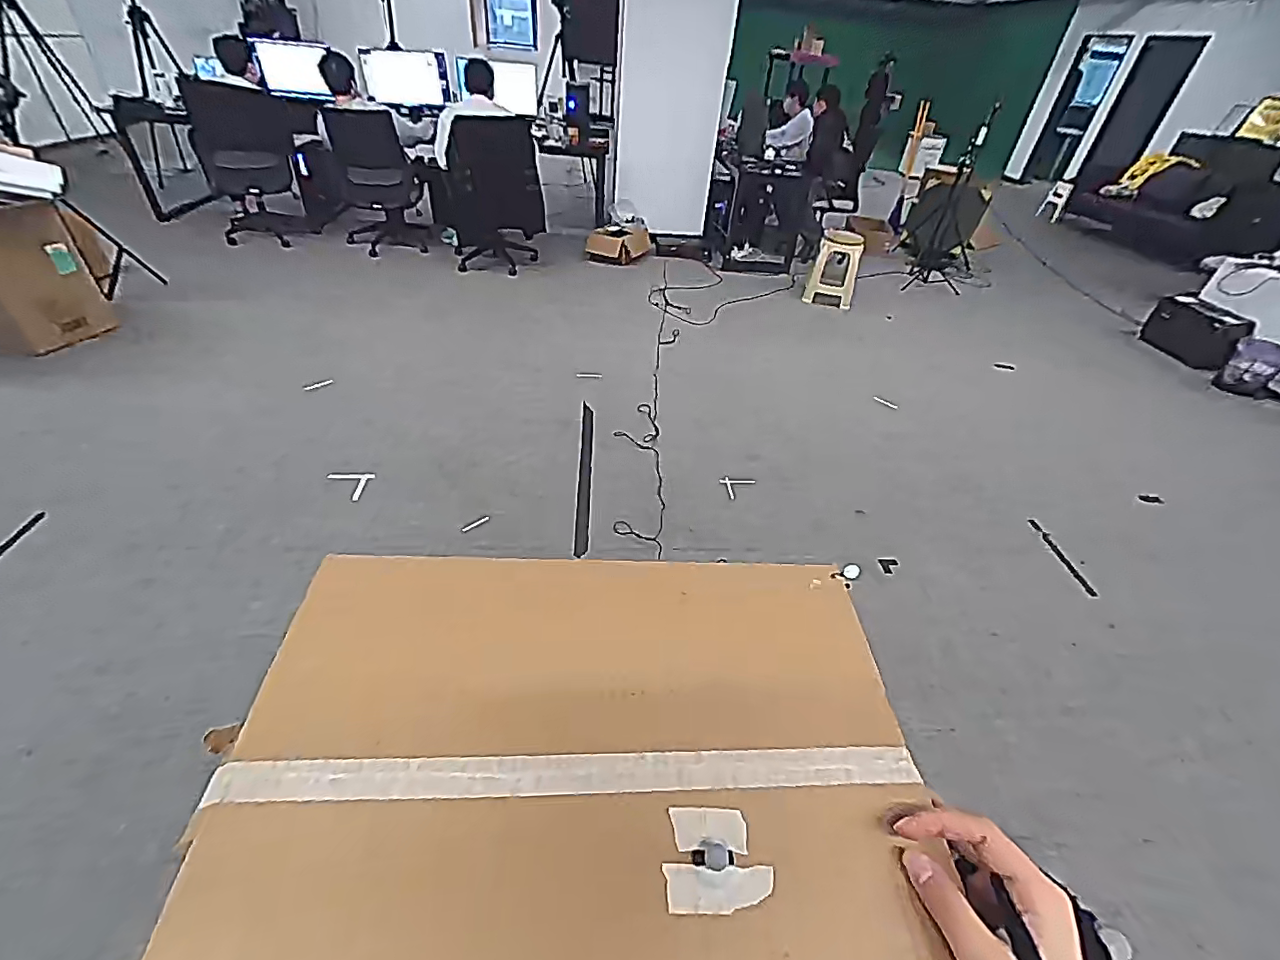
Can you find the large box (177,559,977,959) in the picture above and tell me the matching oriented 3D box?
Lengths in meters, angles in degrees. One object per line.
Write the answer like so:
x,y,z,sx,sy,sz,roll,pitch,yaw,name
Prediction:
-0.042,0.281,0.434,0.408,0.320,0.320,3,45,-7,large box
